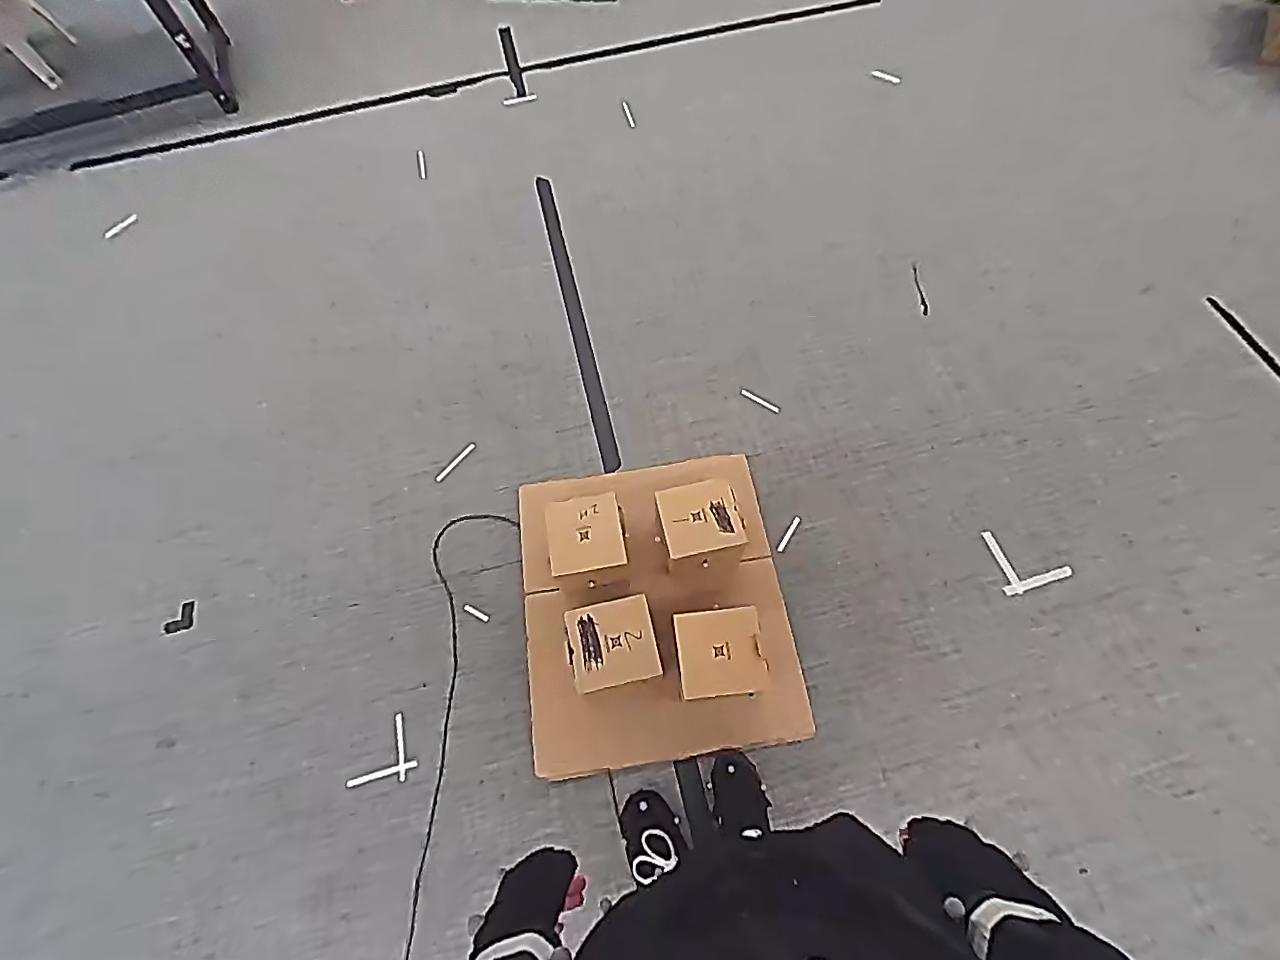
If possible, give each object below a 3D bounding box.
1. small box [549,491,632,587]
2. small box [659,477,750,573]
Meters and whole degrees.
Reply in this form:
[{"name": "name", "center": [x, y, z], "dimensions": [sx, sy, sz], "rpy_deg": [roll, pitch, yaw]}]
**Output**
[{"name": "small box", "center": [-0.112, 0.147, 1.274], "dimensions": [0.168, 0.176, 0.179], "rpy_deg": [-9, 65, -3]}, {"name": "small box", "center": [0.144, 0.111, 1.277], "dimensions": [0.179, 0.176, 0.168], "rpy_deg": [-11, 66, -2]}]
